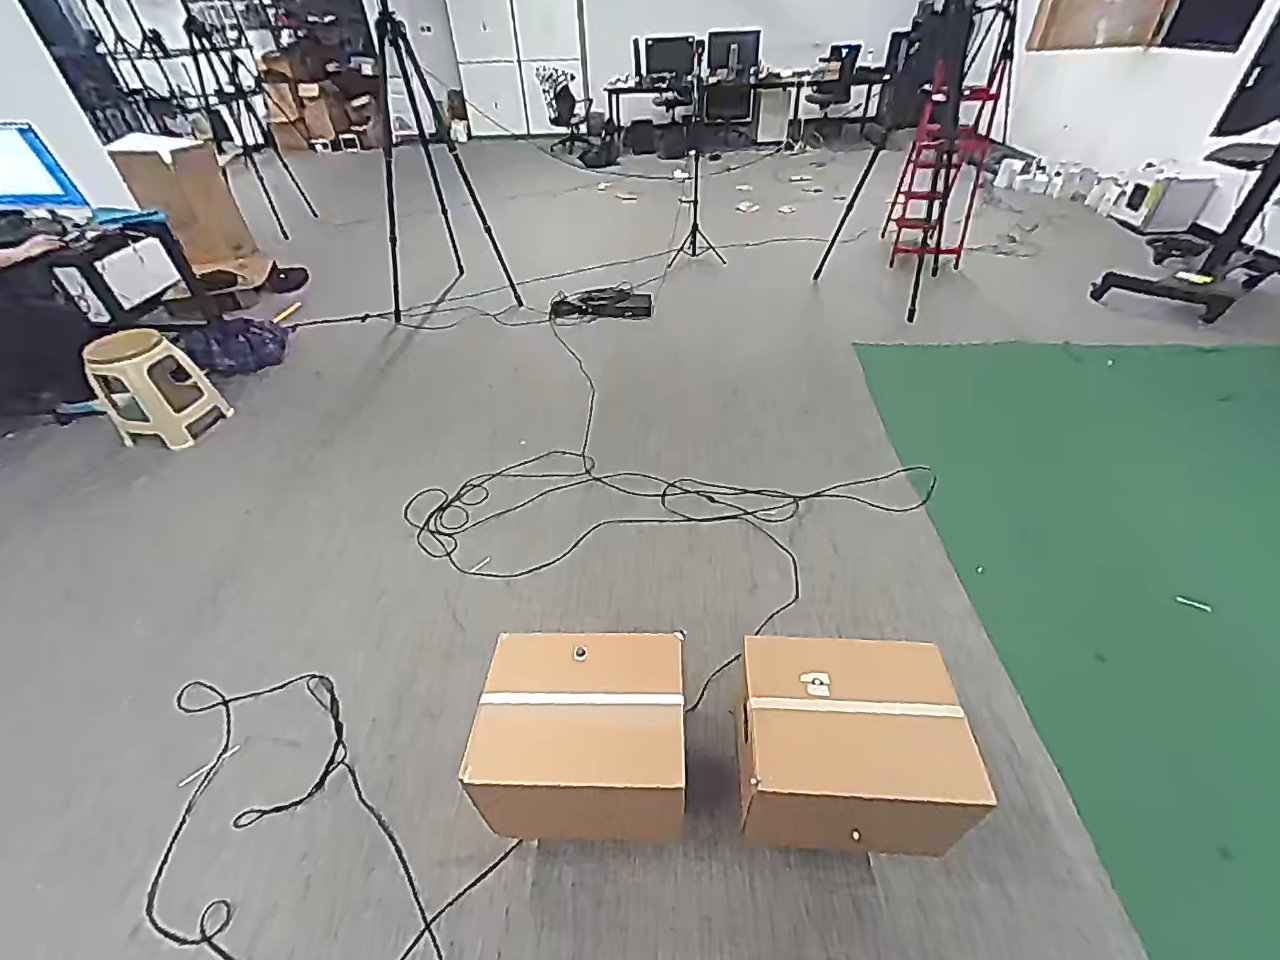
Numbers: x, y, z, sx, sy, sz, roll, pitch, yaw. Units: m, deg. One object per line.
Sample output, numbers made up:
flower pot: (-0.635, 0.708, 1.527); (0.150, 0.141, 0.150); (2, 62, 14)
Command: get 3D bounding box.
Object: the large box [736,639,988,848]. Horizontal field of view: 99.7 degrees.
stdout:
large box: (0.424, 0.560, 1.154); (0.408, 0.320, 0.320); (1, 41, 5)
